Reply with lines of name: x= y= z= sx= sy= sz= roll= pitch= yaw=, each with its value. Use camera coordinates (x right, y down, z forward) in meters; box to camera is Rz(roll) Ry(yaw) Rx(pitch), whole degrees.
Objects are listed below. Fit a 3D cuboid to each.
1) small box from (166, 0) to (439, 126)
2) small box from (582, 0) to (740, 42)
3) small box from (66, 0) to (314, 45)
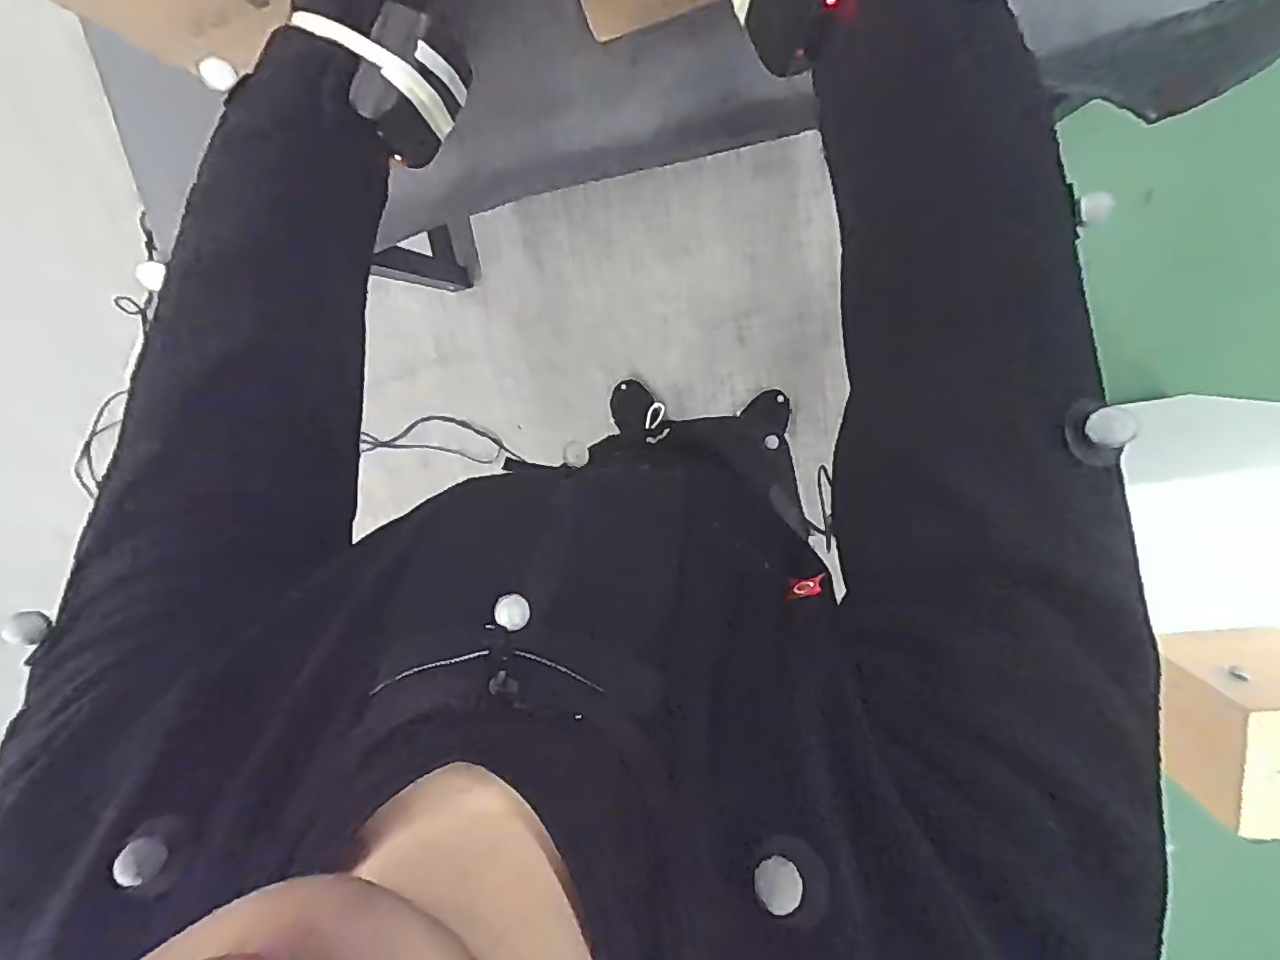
small box: x=-0.309 y=-0.451 z=0.483 sx=0.168 sy=0.176 sz=0.179 roll=-13 pitch=101 yaw=9
small box: x=0.005 y=-0.513 z=0.432 sx=0.168 sy=0.176 sz=0.179 roll=-11 pitch=101 yaw=9
small box: x=-0.328 y=-0.412 z=0.327 sx=0.168 sy=0.176 sz=0.179 roll=-14 pitch=100 yaw=8
